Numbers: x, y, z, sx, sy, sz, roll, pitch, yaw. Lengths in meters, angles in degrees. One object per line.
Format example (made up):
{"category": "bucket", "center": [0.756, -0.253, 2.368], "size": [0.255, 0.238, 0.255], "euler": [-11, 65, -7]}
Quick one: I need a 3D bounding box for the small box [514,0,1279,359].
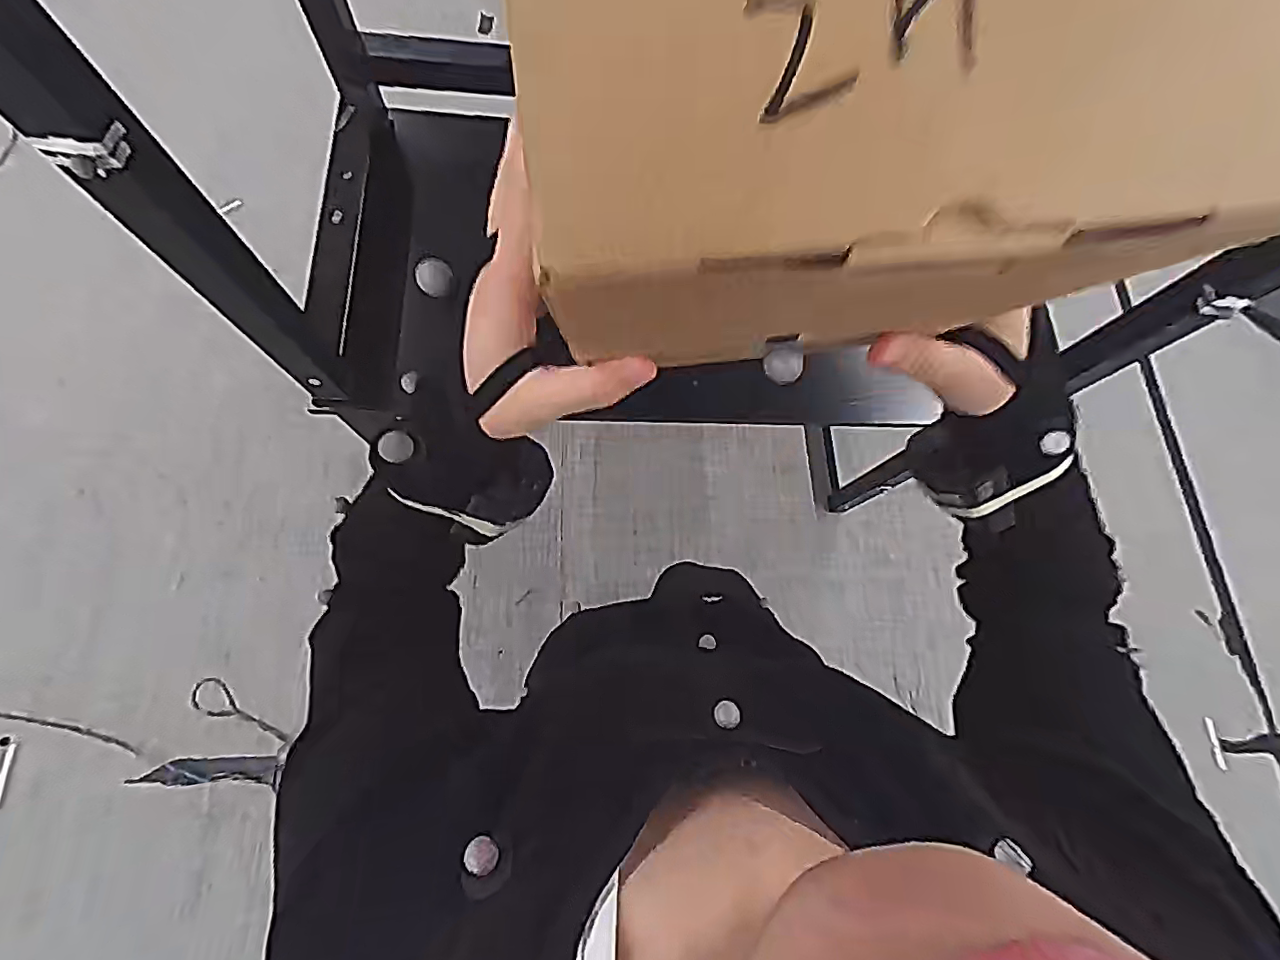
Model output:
{"category": "small box", "center": [0.050, -0.143, 0.171], "size": [0.168, 0.176, 0.179], "euler": [-6, 96, -2]}
